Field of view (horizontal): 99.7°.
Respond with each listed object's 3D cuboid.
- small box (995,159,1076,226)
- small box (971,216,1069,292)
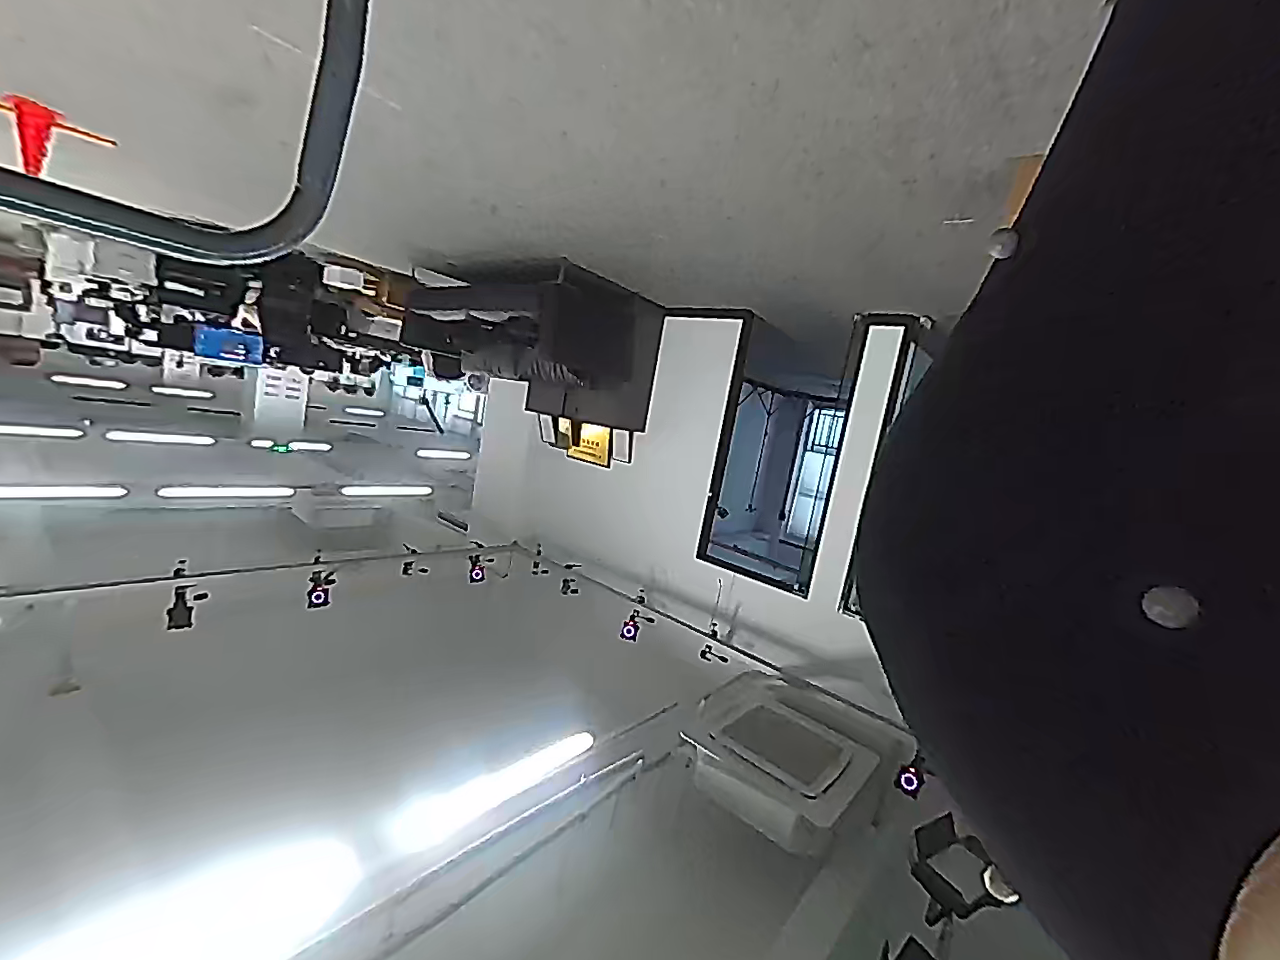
[{"bbox_3d":[1.187,-0.848,1.630,0.168,0.176,0.179,16,-171,31],"label":"small box"},{"bbox_3d":[1.168,-0.697,1.664,0.179,0.176,0.168,11,-175,1],"label":"small box"}]
